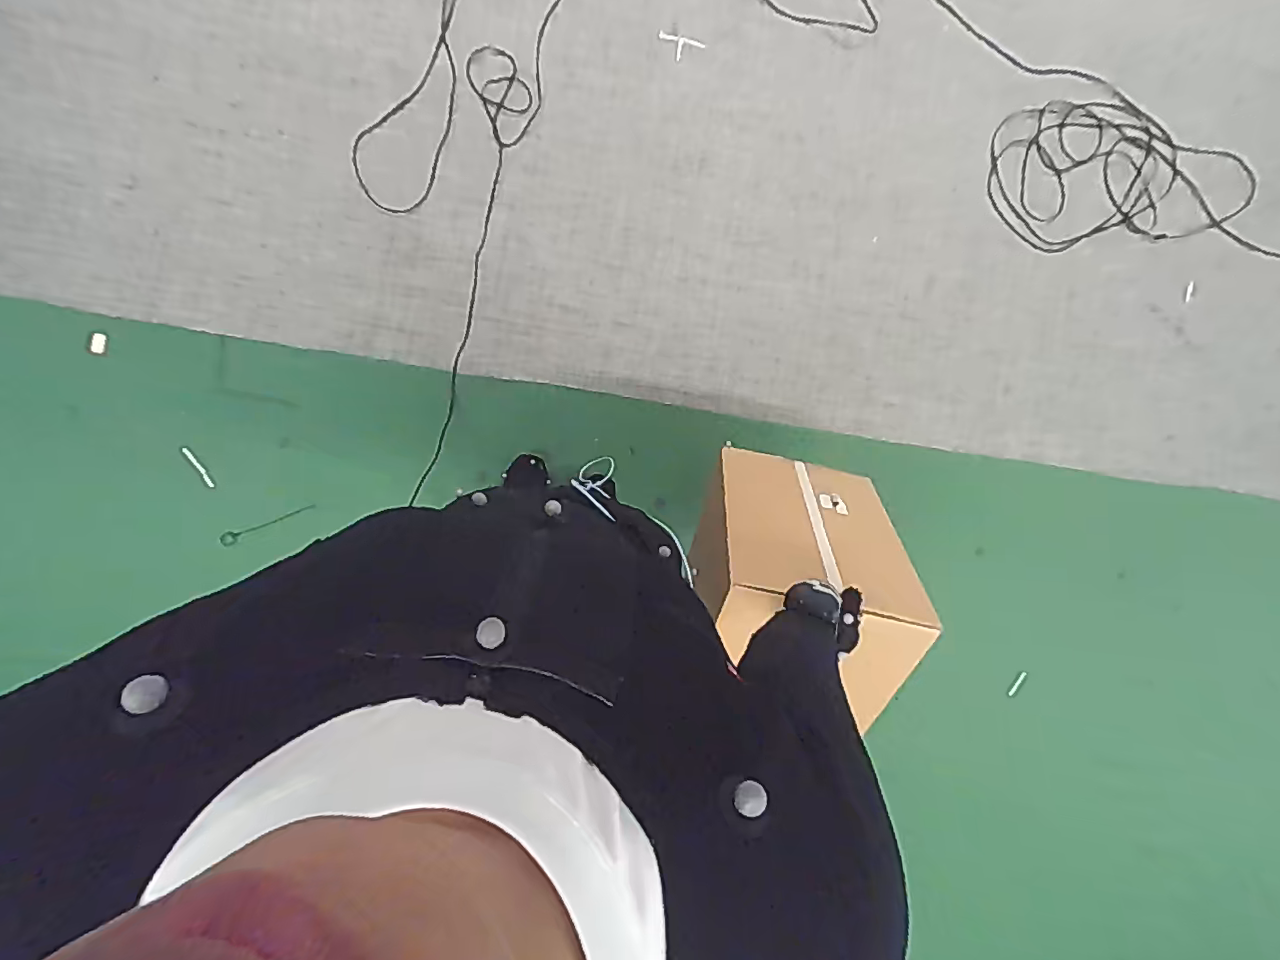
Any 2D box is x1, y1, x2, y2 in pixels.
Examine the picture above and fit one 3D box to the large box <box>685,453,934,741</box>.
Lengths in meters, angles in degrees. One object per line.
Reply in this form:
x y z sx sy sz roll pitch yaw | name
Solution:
0.268 0.204 1.020 0.320 0.408 0.320 13 122 -2 | large box
